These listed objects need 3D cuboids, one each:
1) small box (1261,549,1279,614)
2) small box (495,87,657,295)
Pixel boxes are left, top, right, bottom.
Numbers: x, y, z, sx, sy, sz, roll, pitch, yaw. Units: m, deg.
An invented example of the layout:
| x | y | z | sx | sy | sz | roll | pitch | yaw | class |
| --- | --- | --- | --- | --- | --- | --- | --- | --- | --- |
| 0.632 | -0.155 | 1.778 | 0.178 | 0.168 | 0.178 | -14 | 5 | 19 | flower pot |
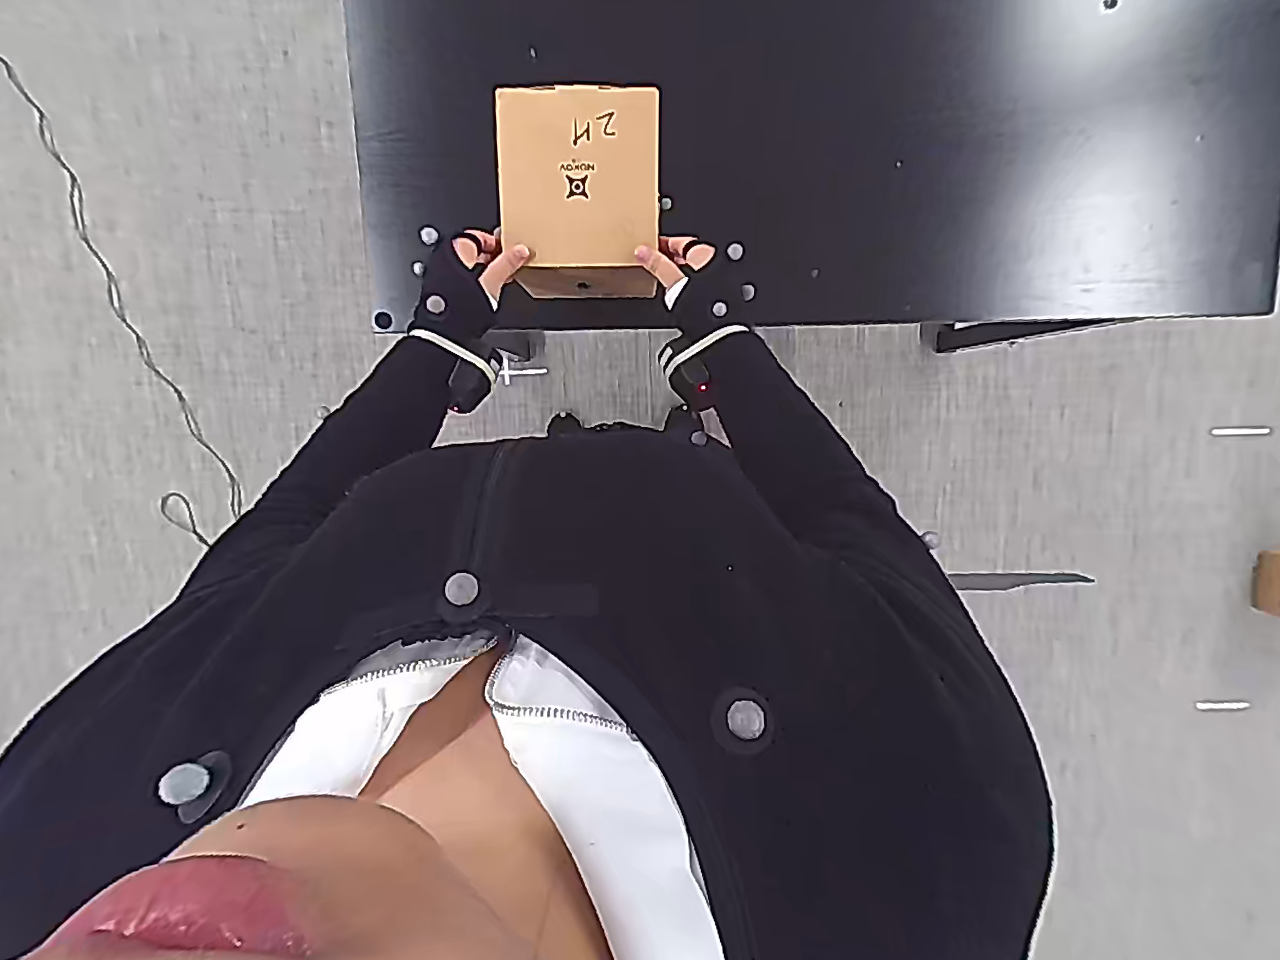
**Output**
| x | y | z | sx | sy | sz | roll | pitch | yaw | class |
| --- | --- | --- | --- | --- | --- | --- | --- | --- | --- |
| 1.815 | 0.288 | 1.425 | 0.168 | 0.176 | 0.179 | -2 | 97 | 0 | small box |
| -0.064 | -0.320 | 0.635 | 0.168 | 0.176 | 0.179 | 0 | 97 | 0 | small box |
